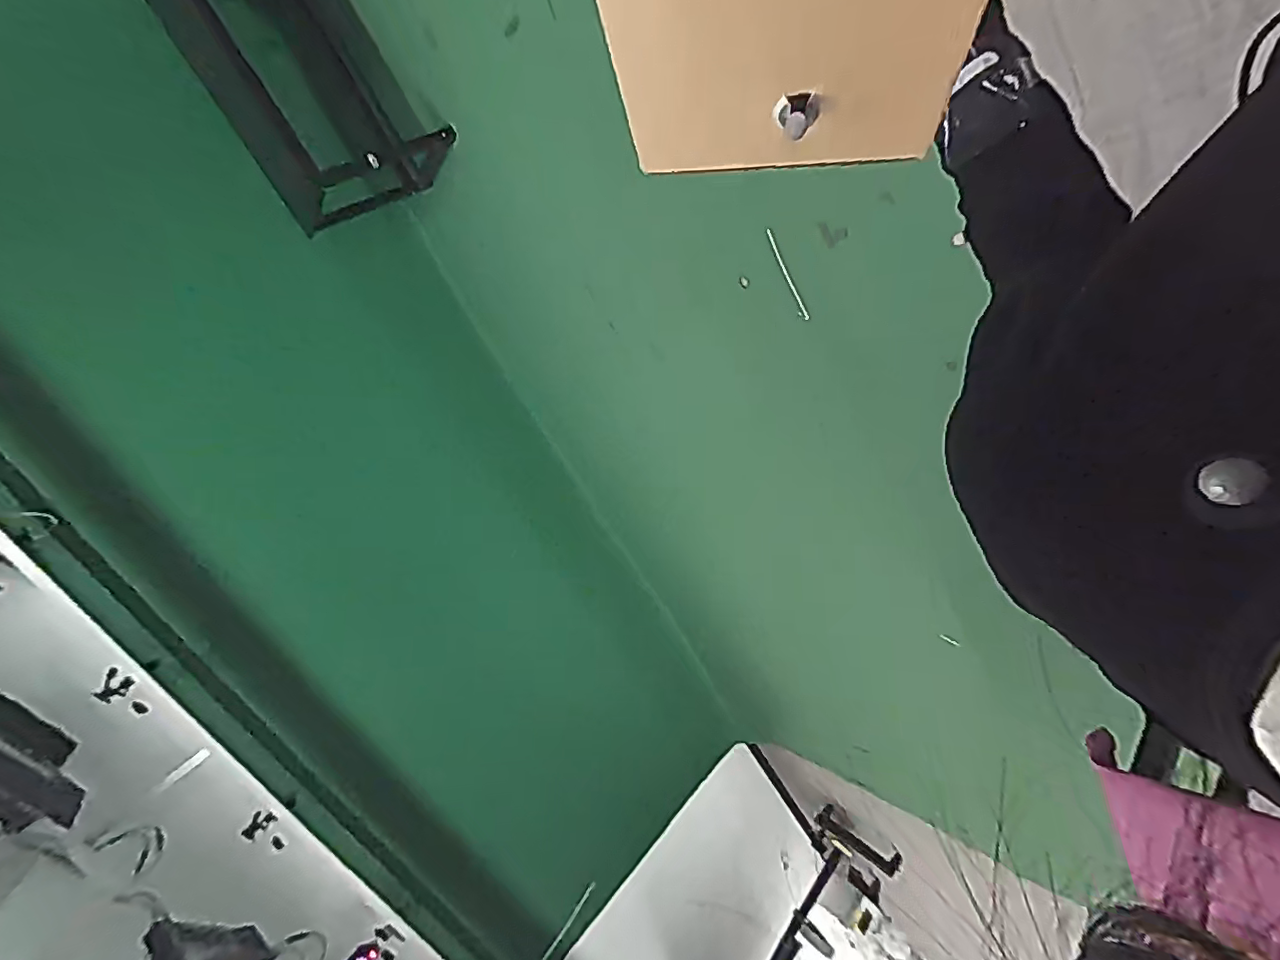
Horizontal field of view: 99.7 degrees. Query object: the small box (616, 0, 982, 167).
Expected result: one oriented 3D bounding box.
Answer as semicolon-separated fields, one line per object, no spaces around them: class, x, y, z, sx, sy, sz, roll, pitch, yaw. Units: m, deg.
small box;0.080;-0.293;0.267;0.179;0.168;0.176;4;170;12
